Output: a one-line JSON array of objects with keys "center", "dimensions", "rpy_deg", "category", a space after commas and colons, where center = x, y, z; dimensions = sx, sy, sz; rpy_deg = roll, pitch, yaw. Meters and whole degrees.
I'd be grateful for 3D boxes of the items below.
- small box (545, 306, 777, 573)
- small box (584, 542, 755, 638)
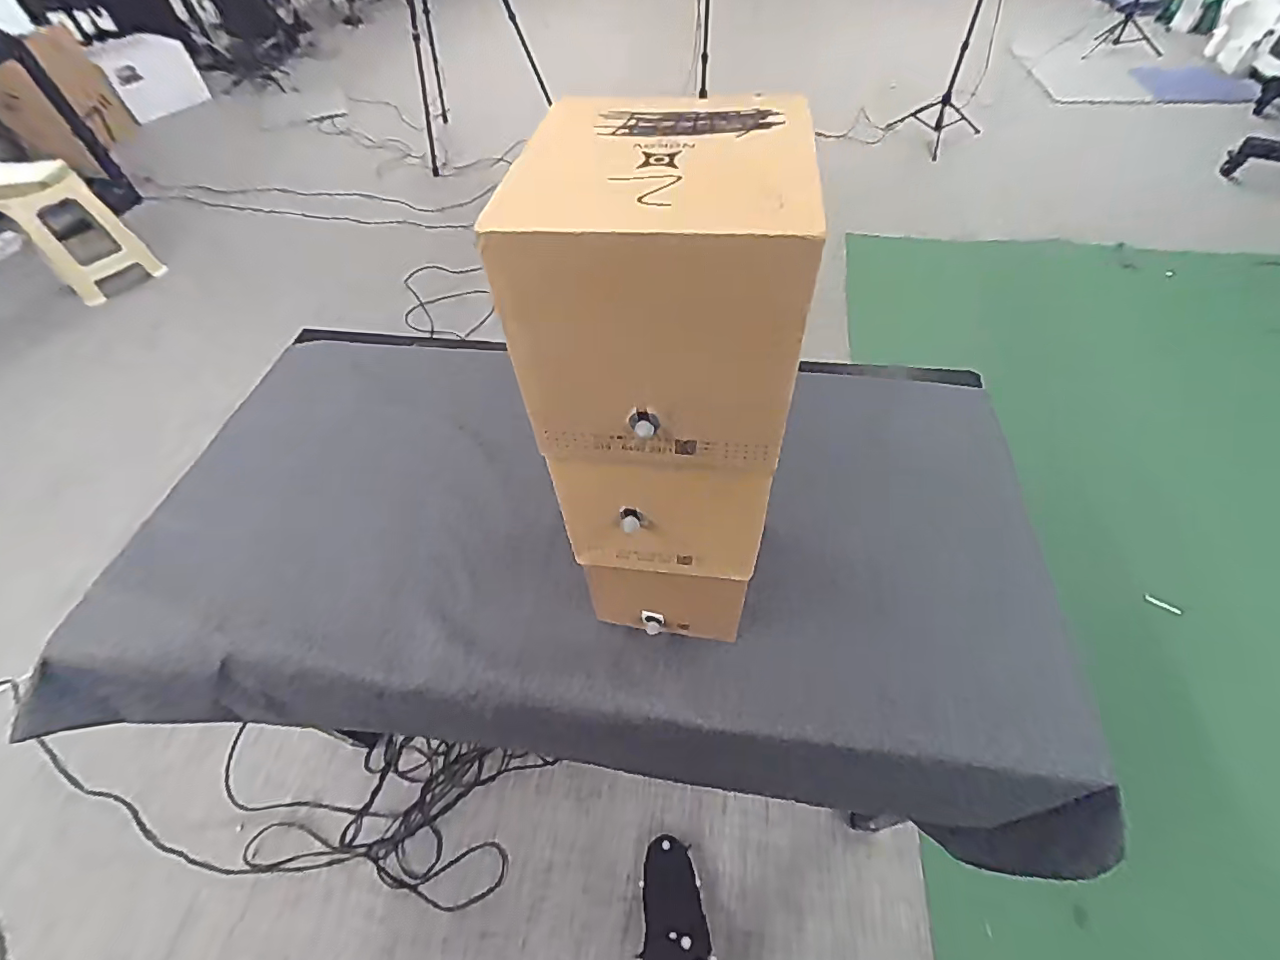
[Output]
[{"center": [0.030, -0.033, 0.486], "dimensions": [0.168, 0.176, 0.179], "rpy_deg": [5, 52, 8], "category": "small box"}, {"center": [0.043, 0.059, 0.620], "dimensions": [0.168, 0.176, 0.179], "rpy_deg": [5, 54, 9], "category": "small box"}]
